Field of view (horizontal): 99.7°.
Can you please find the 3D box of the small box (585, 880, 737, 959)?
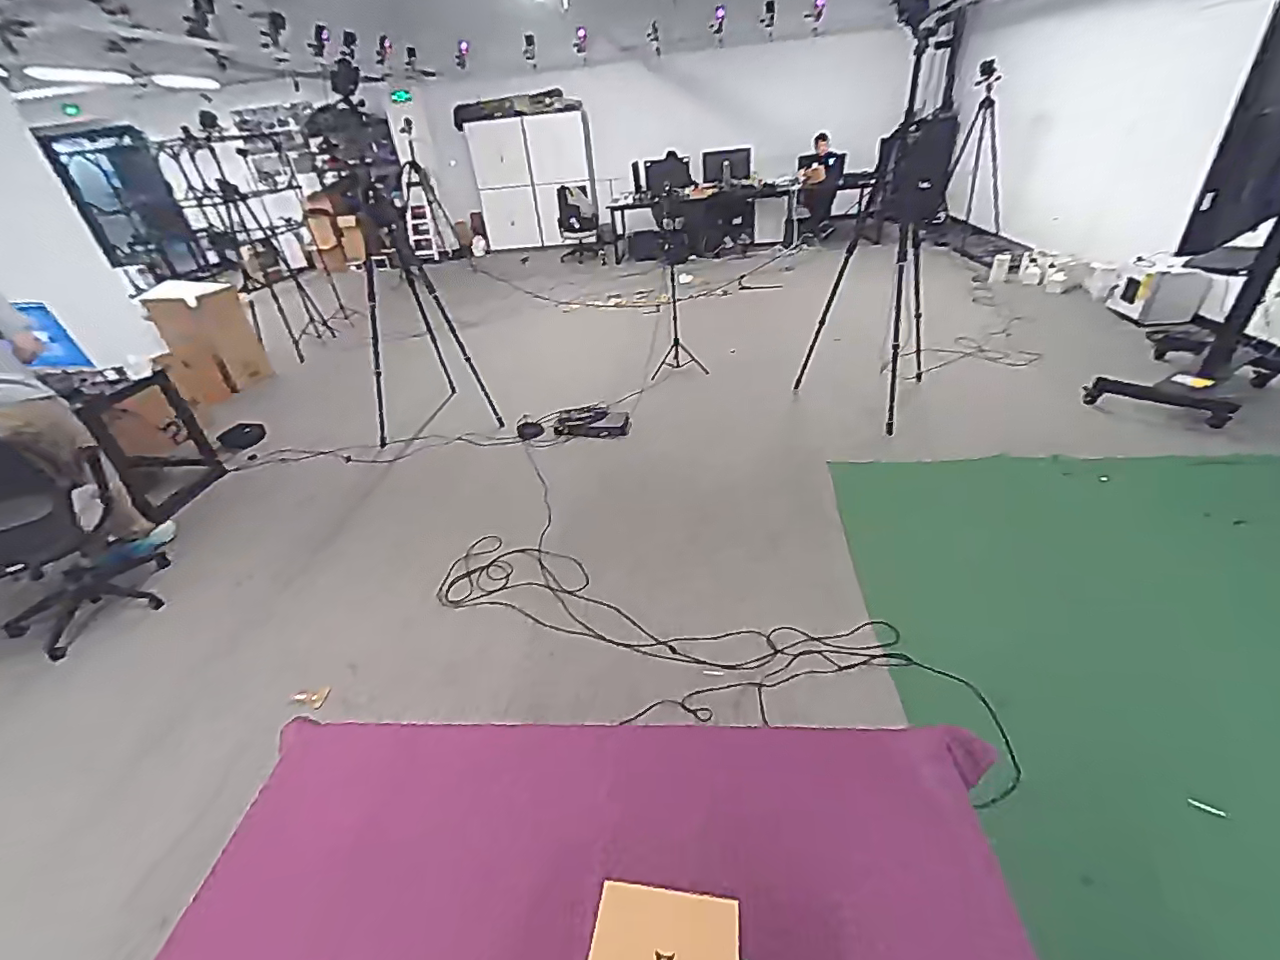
[{"bbox_3d":[0.019,0.600,0.598,0.168,0.176,0.179,3,20,9],"label":"small box"}]
